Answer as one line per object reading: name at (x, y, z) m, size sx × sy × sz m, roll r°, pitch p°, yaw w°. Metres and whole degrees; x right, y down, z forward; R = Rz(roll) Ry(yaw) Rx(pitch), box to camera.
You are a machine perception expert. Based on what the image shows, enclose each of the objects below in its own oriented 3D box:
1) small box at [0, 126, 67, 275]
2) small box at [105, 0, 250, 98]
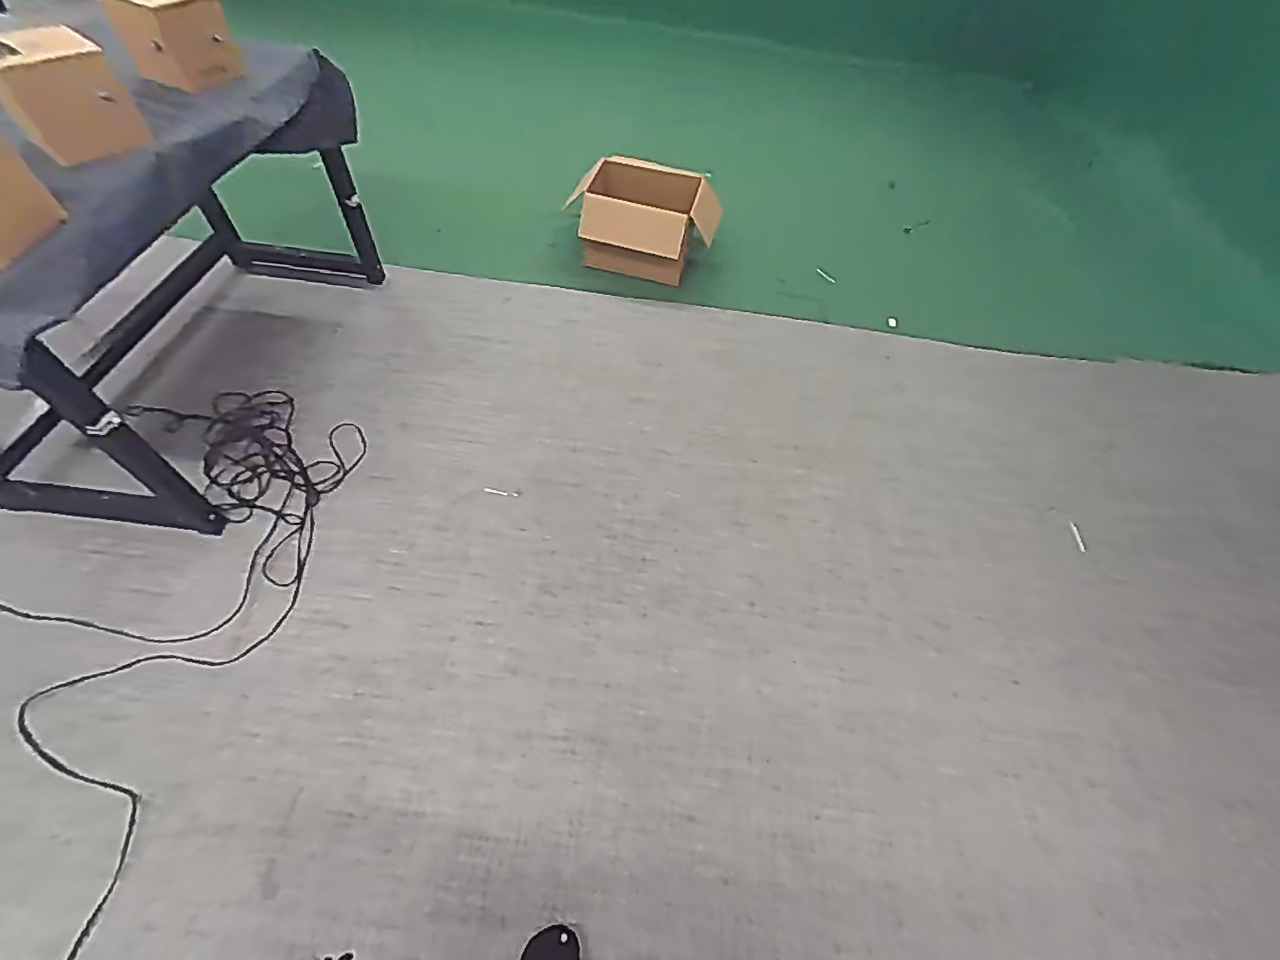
small box at (-1.111, -0.458, 0.875) m, size 0.168 × 0.176 × 0.179 m, roll 3°, pitch 54°, yaw 0°
small box at (-1.110, -1.061, 1.317) m, size 0.179 × 0.176 × 0.168 m, roll 22°, pitch 54°, yaw 12°
